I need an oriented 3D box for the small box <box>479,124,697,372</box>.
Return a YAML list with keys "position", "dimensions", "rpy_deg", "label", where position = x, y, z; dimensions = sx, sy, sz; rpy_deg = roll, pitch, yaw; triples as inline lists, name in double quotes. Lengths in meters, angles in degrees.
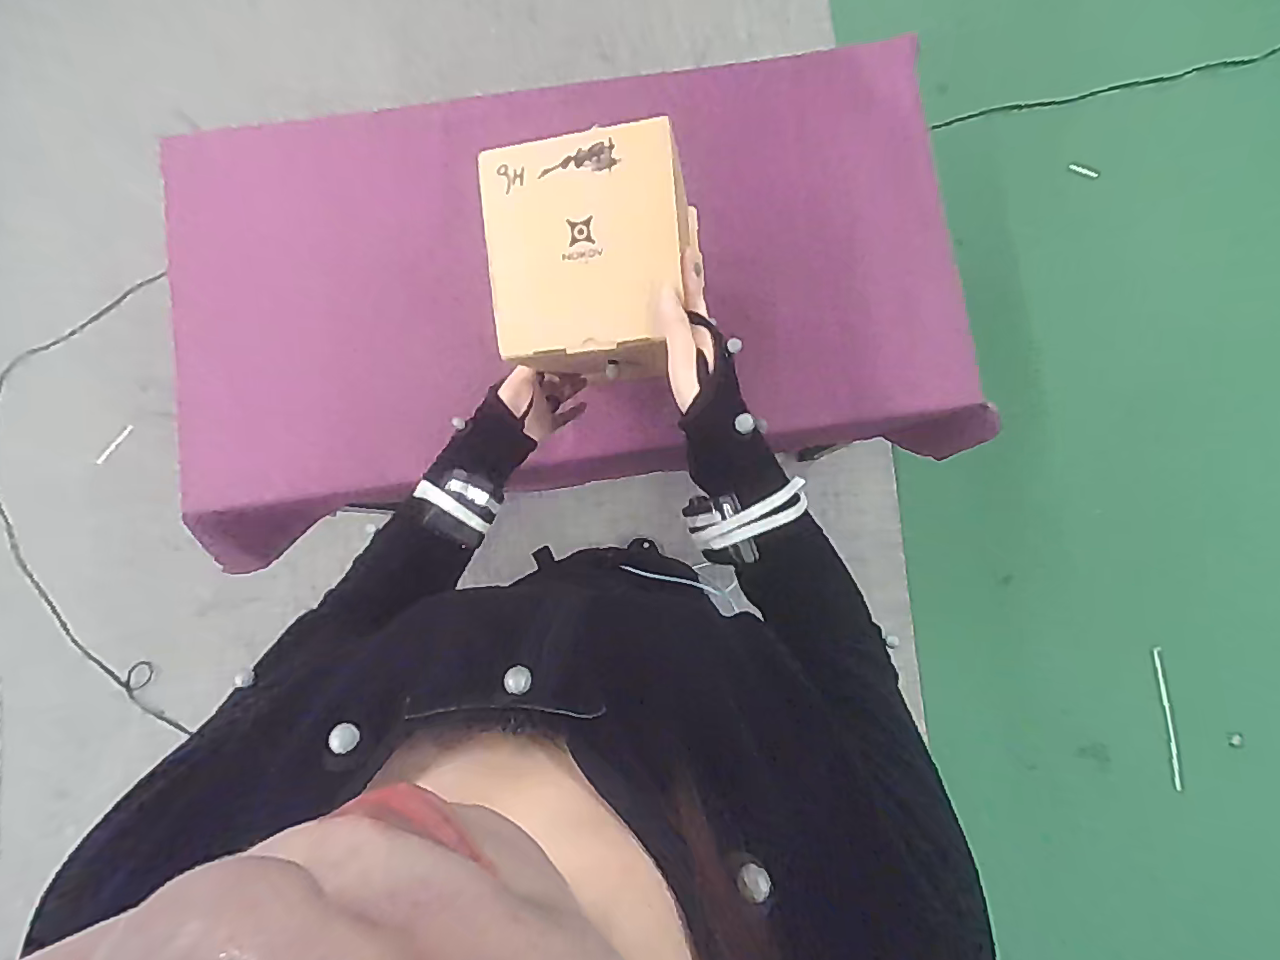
- position: [-0.035, -0.201, 0.528]
  dimensions: [0.168, 0.176, 0.179]
  rpy_deg: [-4, 96, 10]
  label: "small box"
